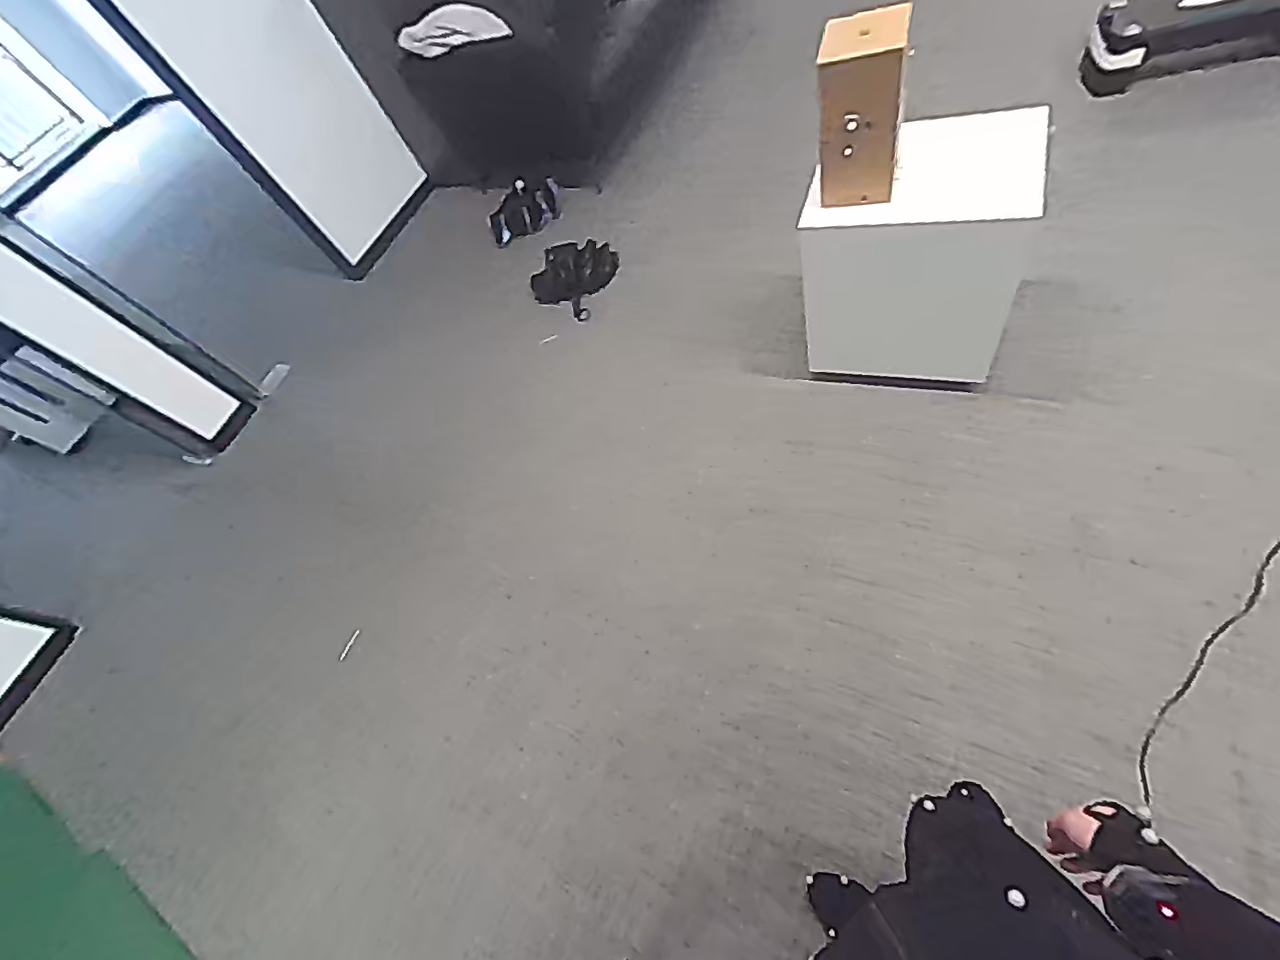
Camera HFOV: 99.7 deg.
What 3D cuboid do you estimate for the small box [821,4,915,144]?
[{"bbox_3d":[0.487,-0.862,1.160,0.168,0.176,0.179,5,63,24],"label":"small box"}]

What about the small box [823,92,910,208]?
[{"bbox_3d":[0.538,-0.784,1.294,0.168,0.176,0.179,8,63,24],"label":"small box"}]
